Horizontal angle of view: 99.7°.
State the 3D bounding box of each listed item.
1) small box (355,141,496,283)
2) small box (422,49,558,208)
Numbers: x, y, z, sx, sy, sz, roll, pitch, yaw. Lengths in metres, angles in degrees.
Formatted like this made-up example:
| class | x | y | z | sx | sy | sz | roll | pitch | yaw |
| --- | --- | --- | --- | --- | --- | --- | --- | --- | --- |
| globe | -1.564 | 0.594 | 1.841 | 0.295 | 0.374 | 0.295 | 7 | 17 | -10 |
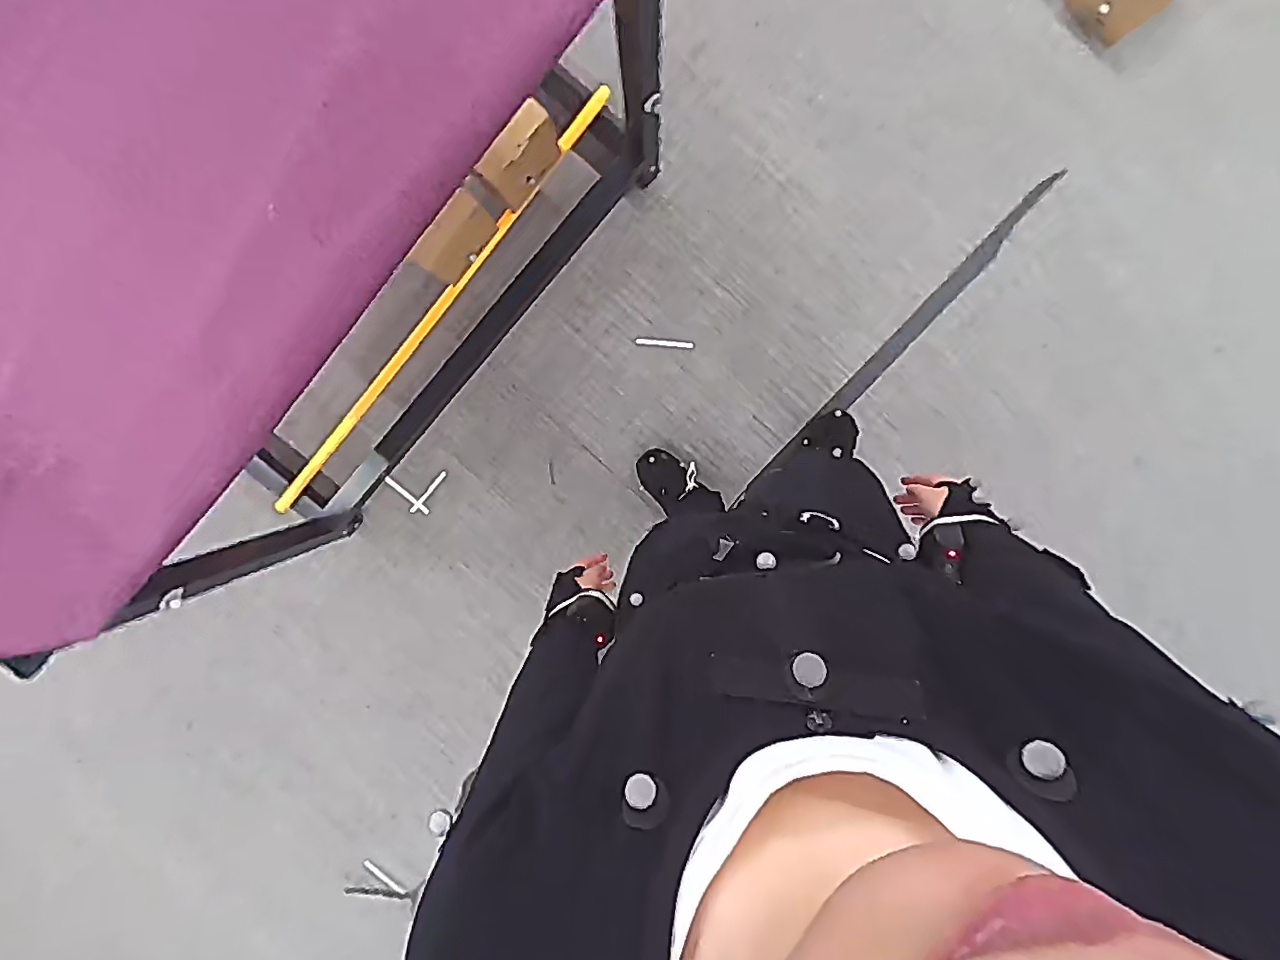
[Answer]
| class | x | y | z | sx | sy | sz | roll | pitch | yaw |
| --- | --- | --- | --- | --- | --- | --- | --- | --- | --- |
| small box | -0.426 | -0.530 | 1.102 | 0.179 | 0.176 | 0.168 | 40 | 97 | -6 |
| small box | -0.289 | -0.684 | 1.079 | 0.179 | 0.176 | 0.168 | 41 | 97 | -5 |
